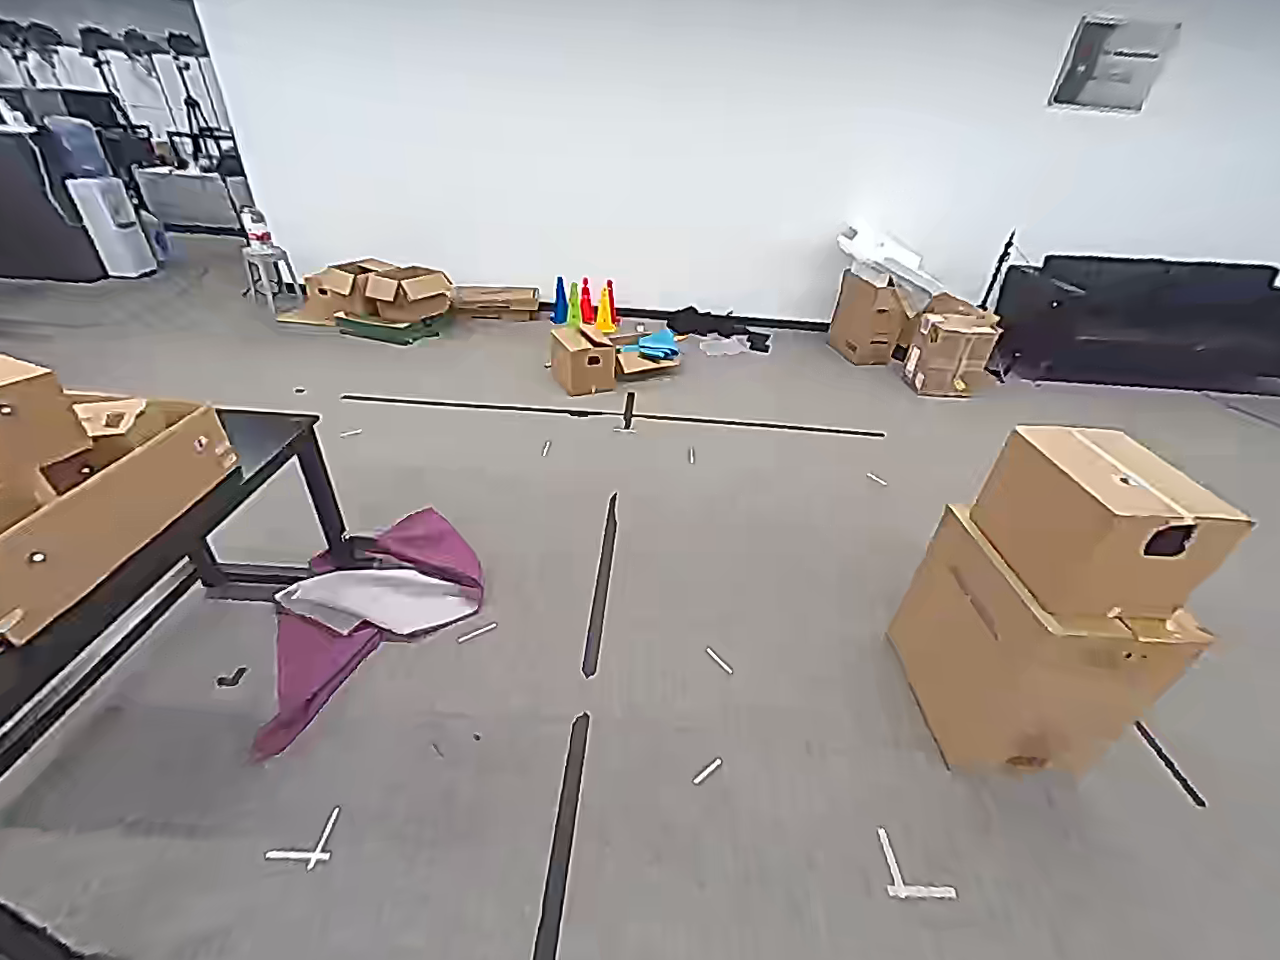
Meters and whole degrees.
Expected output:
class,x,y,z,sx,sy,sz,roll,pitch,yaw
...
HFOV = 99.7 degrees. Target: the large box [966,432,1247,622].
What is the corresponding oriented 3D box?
class,x,y,z,sx,sy,sz,roll,pitch,yaw
large box,1.153,0.111,1.410,0.320,0.320,0.408,2,34,-2
